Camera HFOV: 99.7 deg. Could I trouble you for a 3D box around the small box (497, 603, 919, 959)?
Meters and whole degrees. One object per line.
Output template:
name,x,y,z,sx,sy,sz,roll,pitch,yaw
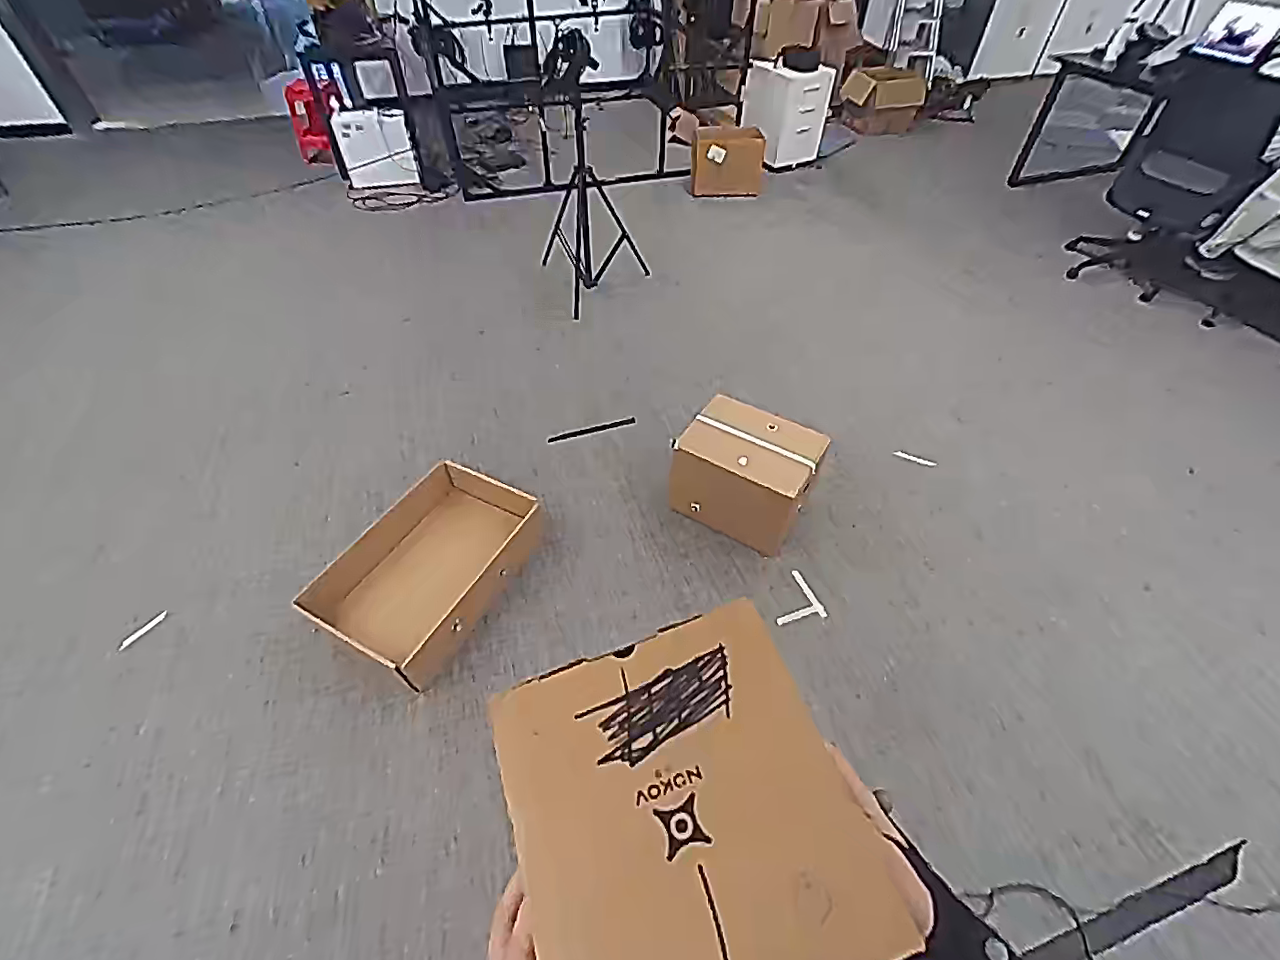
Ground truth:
small box,0.028,0.212,0.344,0.168,0.176,0.179,-21,57,-7
